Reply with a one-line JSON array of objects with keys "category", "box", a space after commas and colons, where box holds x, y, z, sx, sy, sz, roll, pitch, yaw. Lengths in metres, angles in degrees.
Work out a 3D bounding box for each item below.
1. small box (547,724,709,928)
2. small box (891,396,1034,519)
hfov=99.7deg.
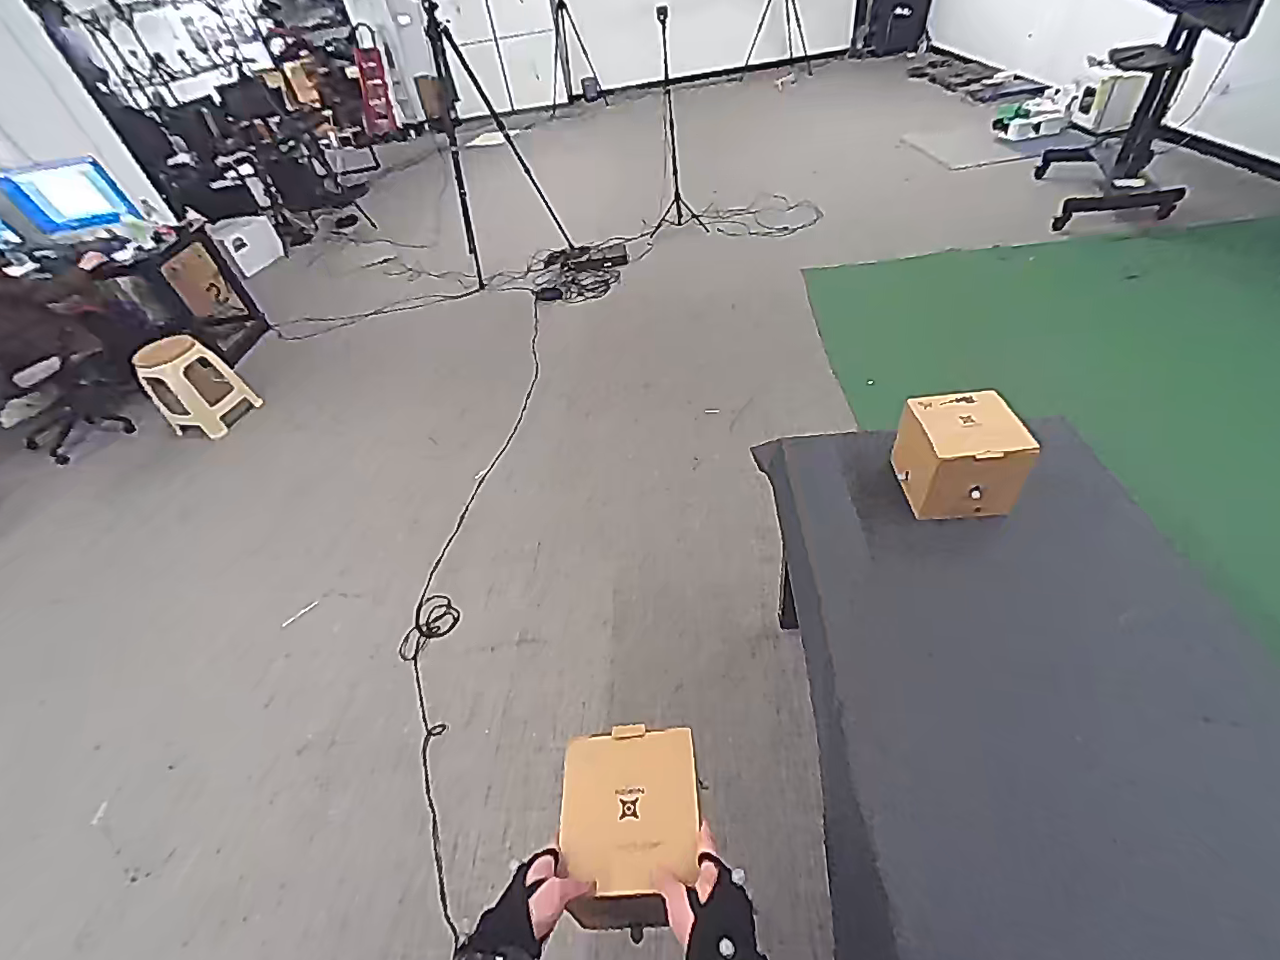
[{"category": "small box", "box": [-0.004, 0.433, 0.680, 0.168, 0.176, 0.179, -6, 41, 7]}, {"category": "small box", "box": [0.603, -0.037, 1.037, 0.168, 0.176, 0.179, -5, 45, 6]}]
